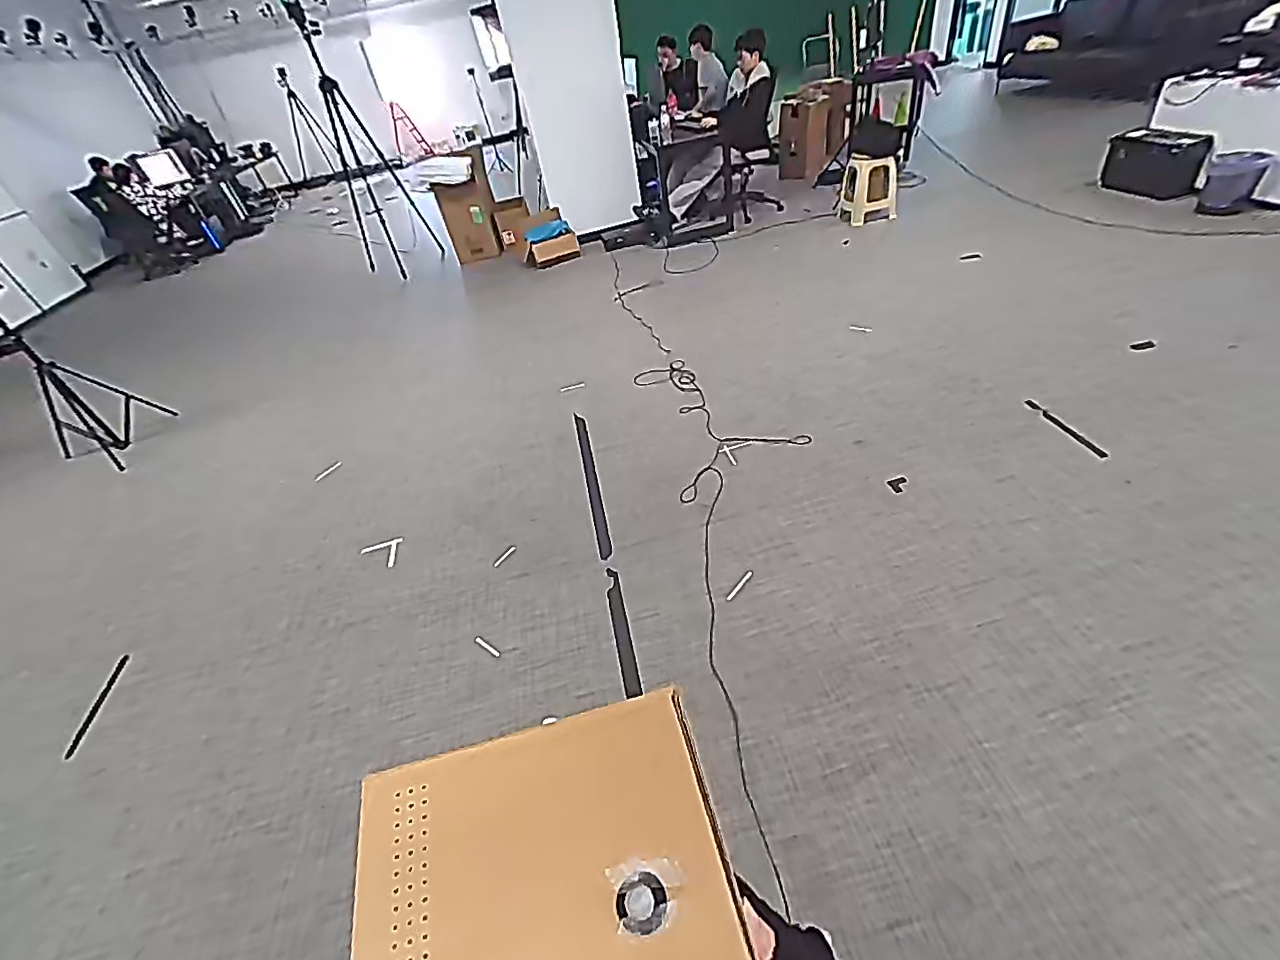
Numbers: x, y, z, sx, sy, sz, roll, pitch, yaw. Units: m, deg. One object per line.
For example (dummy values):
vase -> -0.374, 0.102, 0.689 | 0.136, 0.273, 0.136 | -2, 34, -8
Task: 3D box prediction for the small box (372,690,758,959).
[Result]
small box -> -0.034, 0.248, 0.298 | 0.176, 0.168, 0.179 | -15, 52, -4
